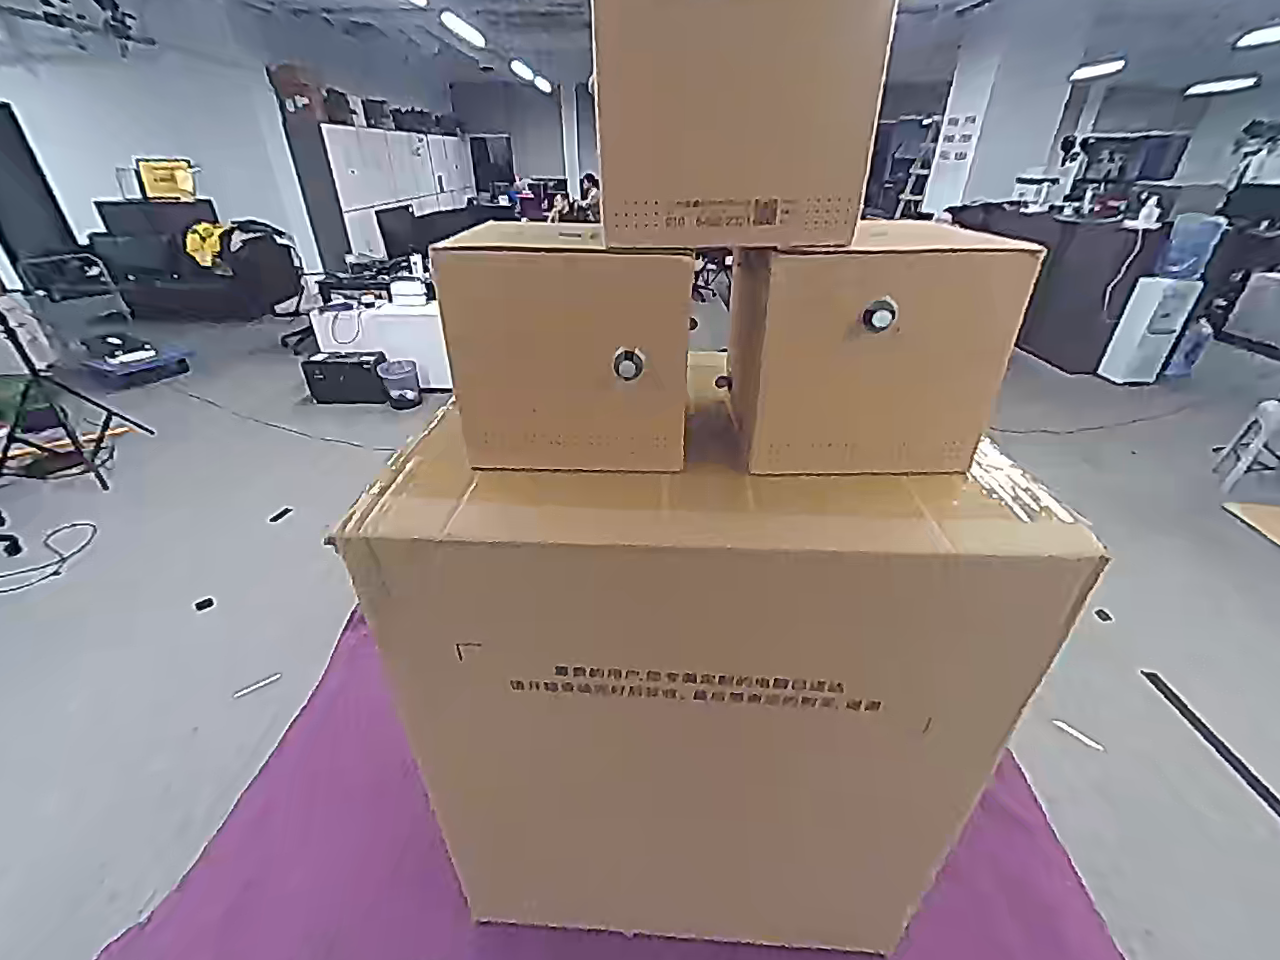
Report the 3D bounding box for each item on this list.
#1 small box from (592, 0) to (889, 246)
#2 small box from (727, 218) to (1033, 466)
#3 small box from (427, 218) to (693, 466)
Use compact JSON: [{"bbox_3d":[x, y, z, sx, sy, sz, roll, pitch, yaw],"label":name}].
[{"bbox_3d":[0.055,-0.266,0.384,0.168,0.176,0.179,-1,29,1],"label":"small box"},{"bbox_3d":[0.170,-0.120,0.455,0.179,0.176,0.168,0,30,0],"label":"small box"},{"bbox_3d":[-0.053,-0.120,0.460,0.179,0.176,0.168,0,30,0],"label":"small box"}]
